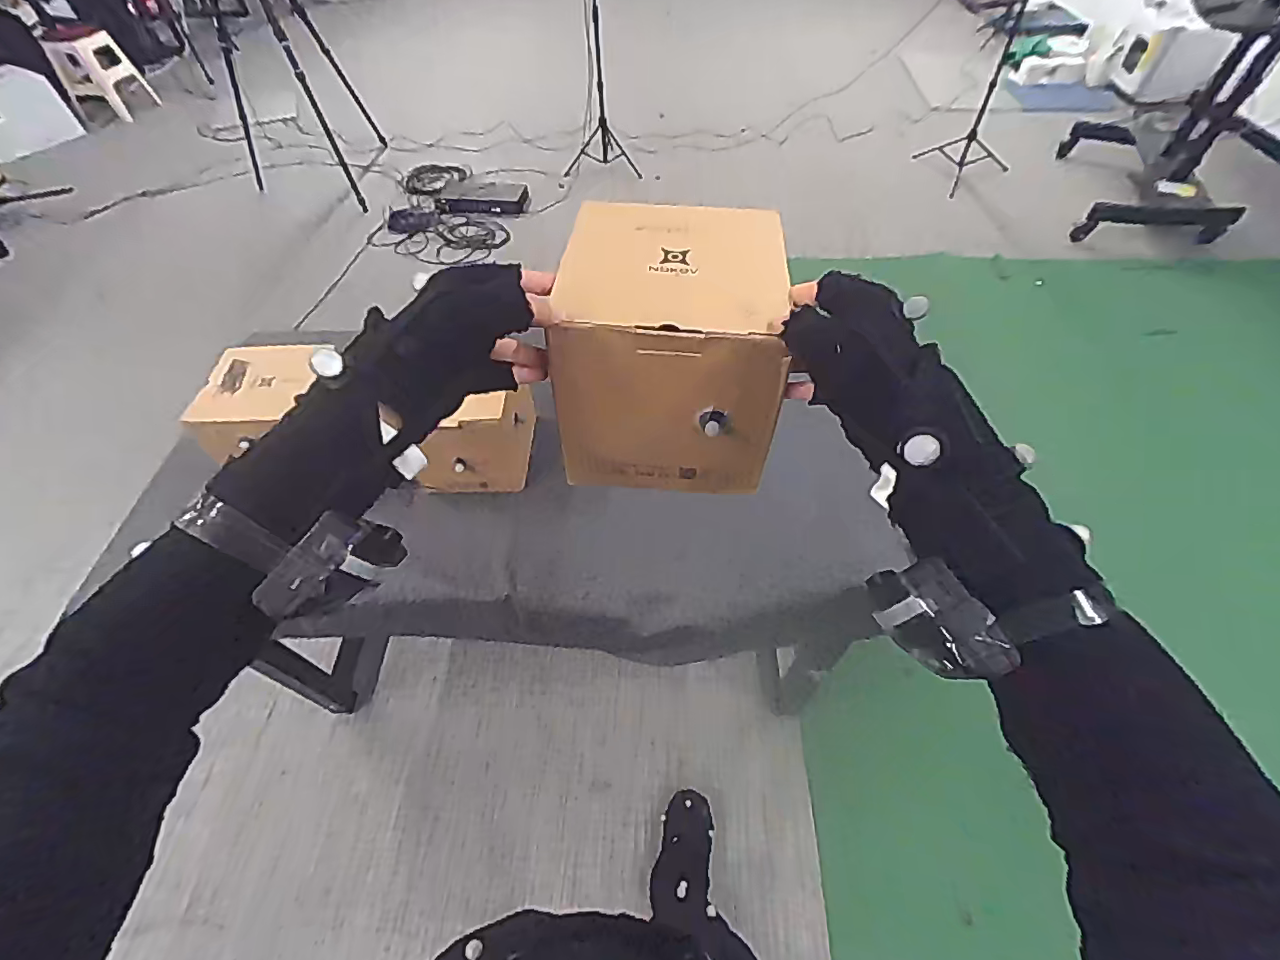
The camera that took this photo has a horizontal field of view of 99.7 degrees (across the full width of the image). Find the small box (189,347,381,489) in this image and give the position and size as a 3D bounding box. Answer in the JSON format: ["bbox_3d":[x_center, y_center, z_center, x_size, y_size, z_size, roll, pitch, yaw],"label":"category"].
[{"bbox_3d":[-0.559,-0.096,0.882,0.179,0.176,0.168,-1,53,-1],"label":"small box"}]

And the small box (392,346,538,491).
[{"bbox_3d":[-0.266,-0.094,0.874,0.168,0.176,0.179,0,53,2],"label":"small box"}]

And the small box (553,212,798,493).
[{"bbox_3d":[0.029,-0.106,0.467,0.168,0.176,0.179,5,50,2],"label":"small box"}]
